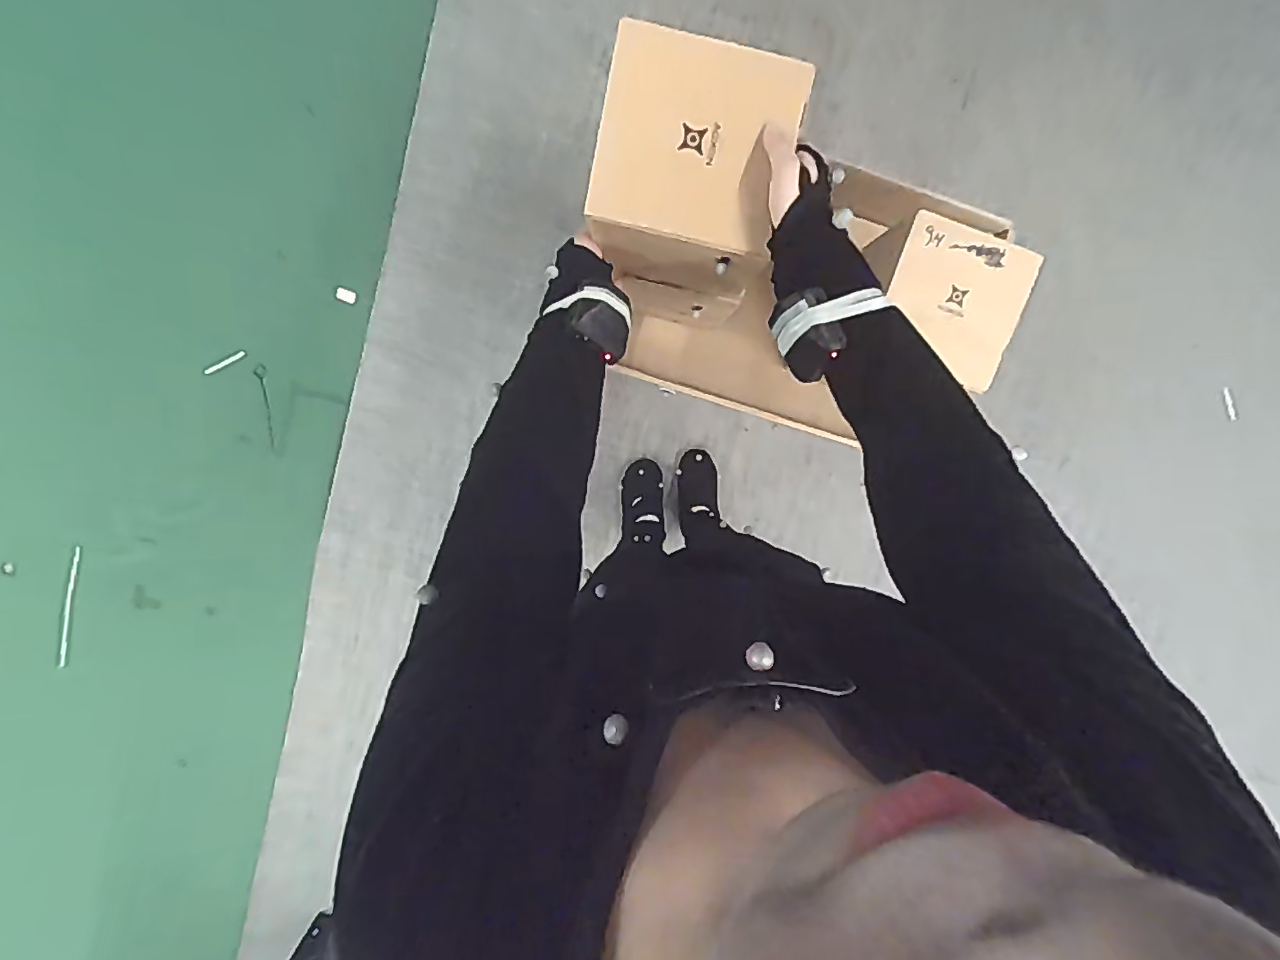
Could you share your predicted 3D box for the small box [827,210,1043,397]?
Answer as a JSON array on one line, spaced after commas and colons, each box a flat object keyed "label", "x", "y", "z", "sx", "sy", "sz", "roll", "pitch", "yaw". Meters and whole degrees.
[{"label": "small box", "x": 0.373, "y": -0.221, "z": 0.724, "sx": 0.168, "sy": 0.176, "sz": 0.179, "roll": 19, "pitch": 98, "yaw": -3}]

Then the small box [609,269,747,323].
[{"label": "small box", "x": 0.061, "y": -0.318, "z": 0.711, "sx": 0.168, "sy": 0.176, "sz": 0.179, "roll": 13, "pitch": 97, "yaw": -2}]

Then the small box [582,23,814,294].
[{"label": "small box", "x": 0.048, "y": -0.301, "z": 0.549, "sx": 0.179, "sy": 0.176, "sz": 0.168, "roll": 12, "pitch": 97, "yaw": -3}]
